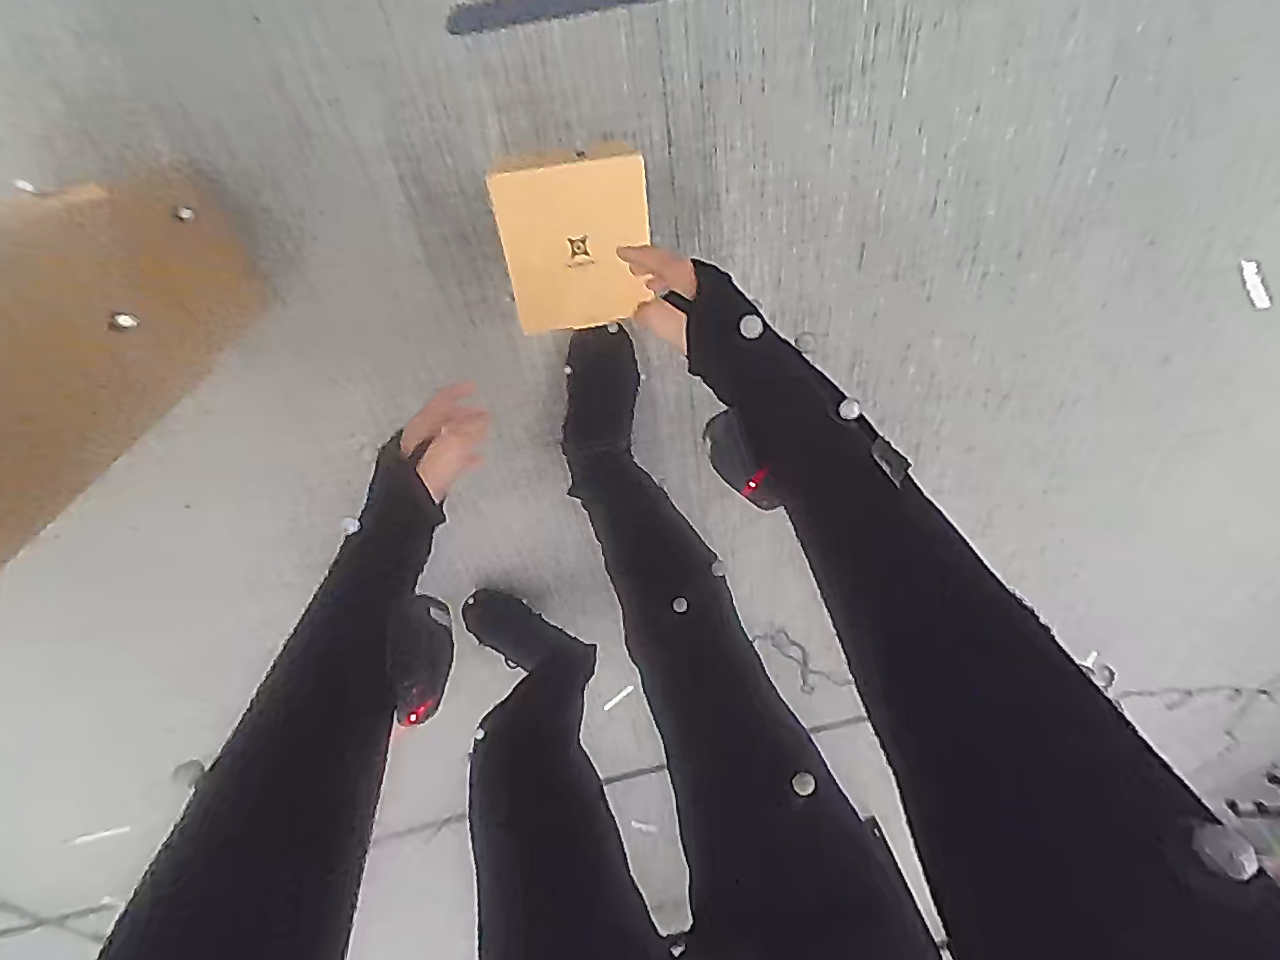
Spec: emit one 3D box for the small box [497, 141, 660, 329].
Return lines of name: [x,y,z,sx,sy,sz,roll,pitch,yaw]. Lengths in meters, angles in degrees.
small box: [-0.077,-0.312,0.675,0.168,0.176,0.179,-11,128,-4]

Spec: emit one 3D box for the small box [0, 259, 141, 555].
small box: [-0.515,-0.050,0.363,0.168,0.176,0.179,-12,128,-1]
